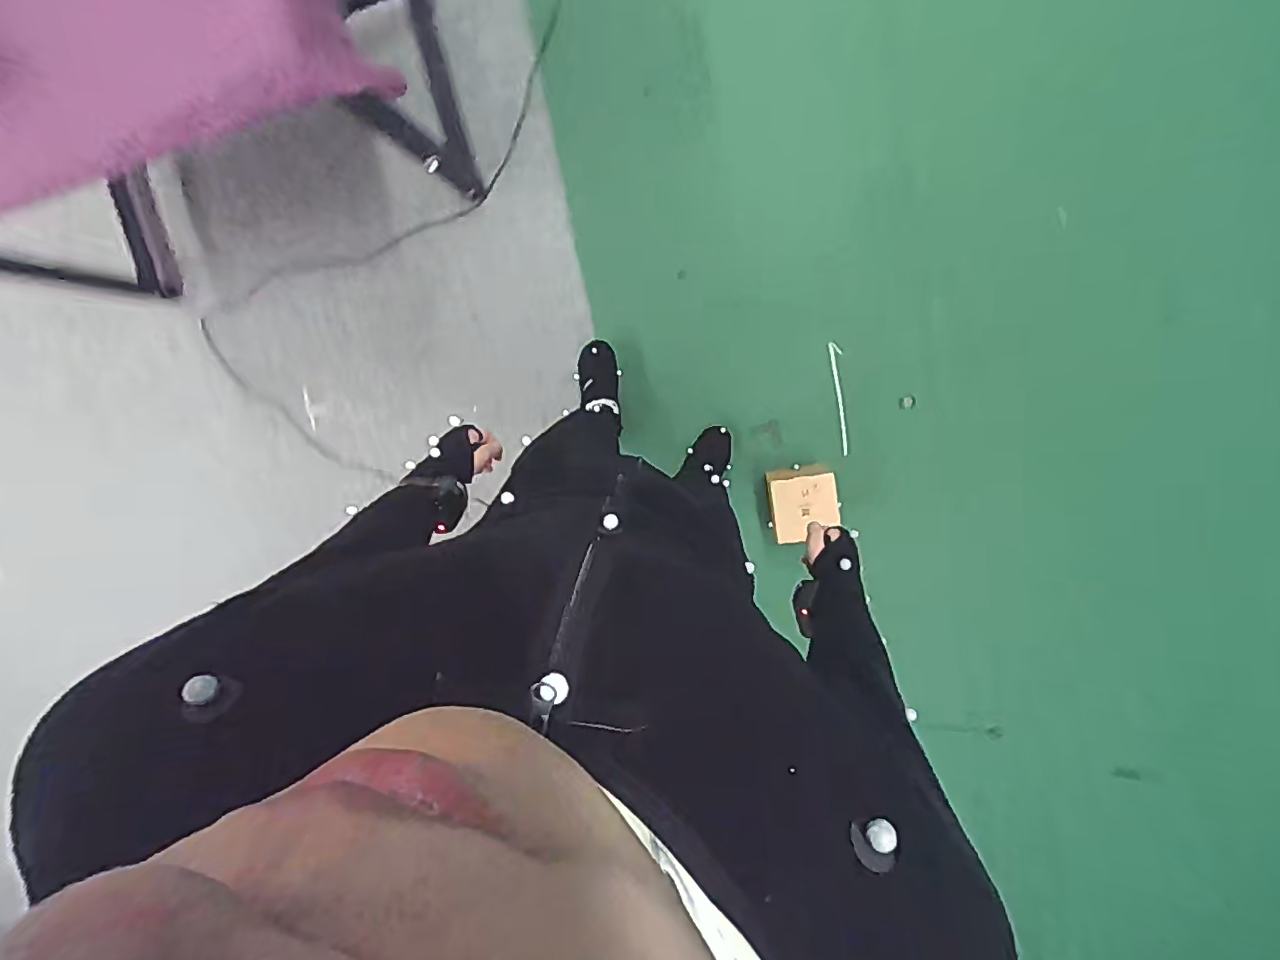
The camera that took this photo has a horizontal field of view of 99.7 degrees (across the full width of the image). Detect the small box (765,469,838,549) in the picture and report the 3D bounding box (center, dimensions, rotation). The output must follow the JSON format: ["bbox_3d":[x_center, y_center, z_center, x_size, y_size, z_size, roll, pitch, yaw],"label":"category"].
[{"bbox_3d":[0.441,0.076,1.495,0.168,0.176,0.179,-8,98,10],"label":"small box"}]
